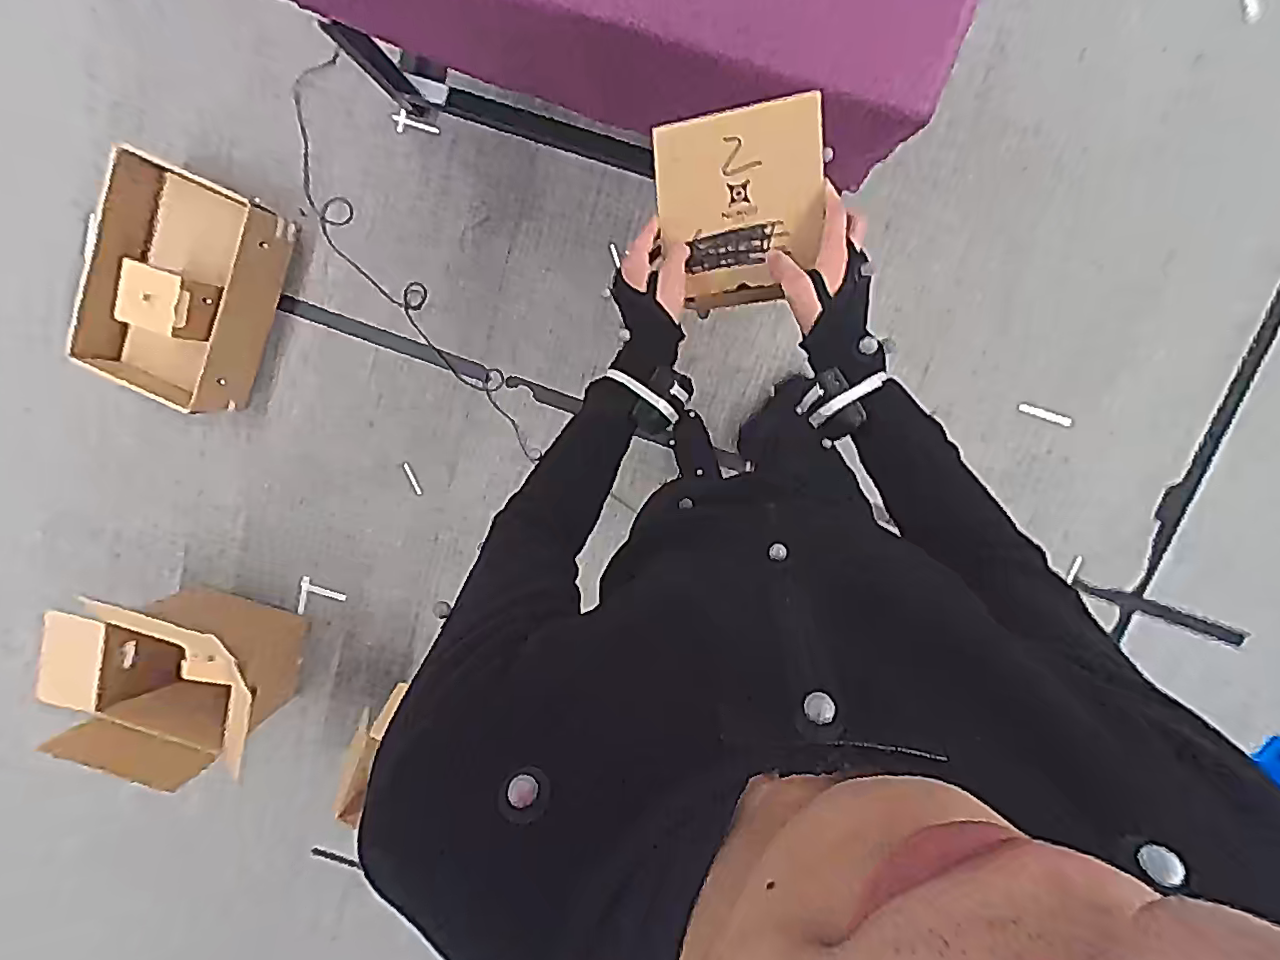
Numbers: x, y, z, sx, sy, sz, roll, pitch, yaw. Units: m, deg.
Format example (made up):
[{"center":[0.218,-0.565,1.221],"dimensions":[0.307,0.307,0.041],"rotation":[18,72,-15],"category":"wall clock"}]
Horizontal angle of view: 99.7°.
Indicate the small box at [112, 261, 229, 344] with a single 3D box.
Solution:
[{"center":[-1.313,-0.491,1.524],"dimensions":[0.179,0.176,0.168],"rotation":[19,99,1],"category":"small box"}]
